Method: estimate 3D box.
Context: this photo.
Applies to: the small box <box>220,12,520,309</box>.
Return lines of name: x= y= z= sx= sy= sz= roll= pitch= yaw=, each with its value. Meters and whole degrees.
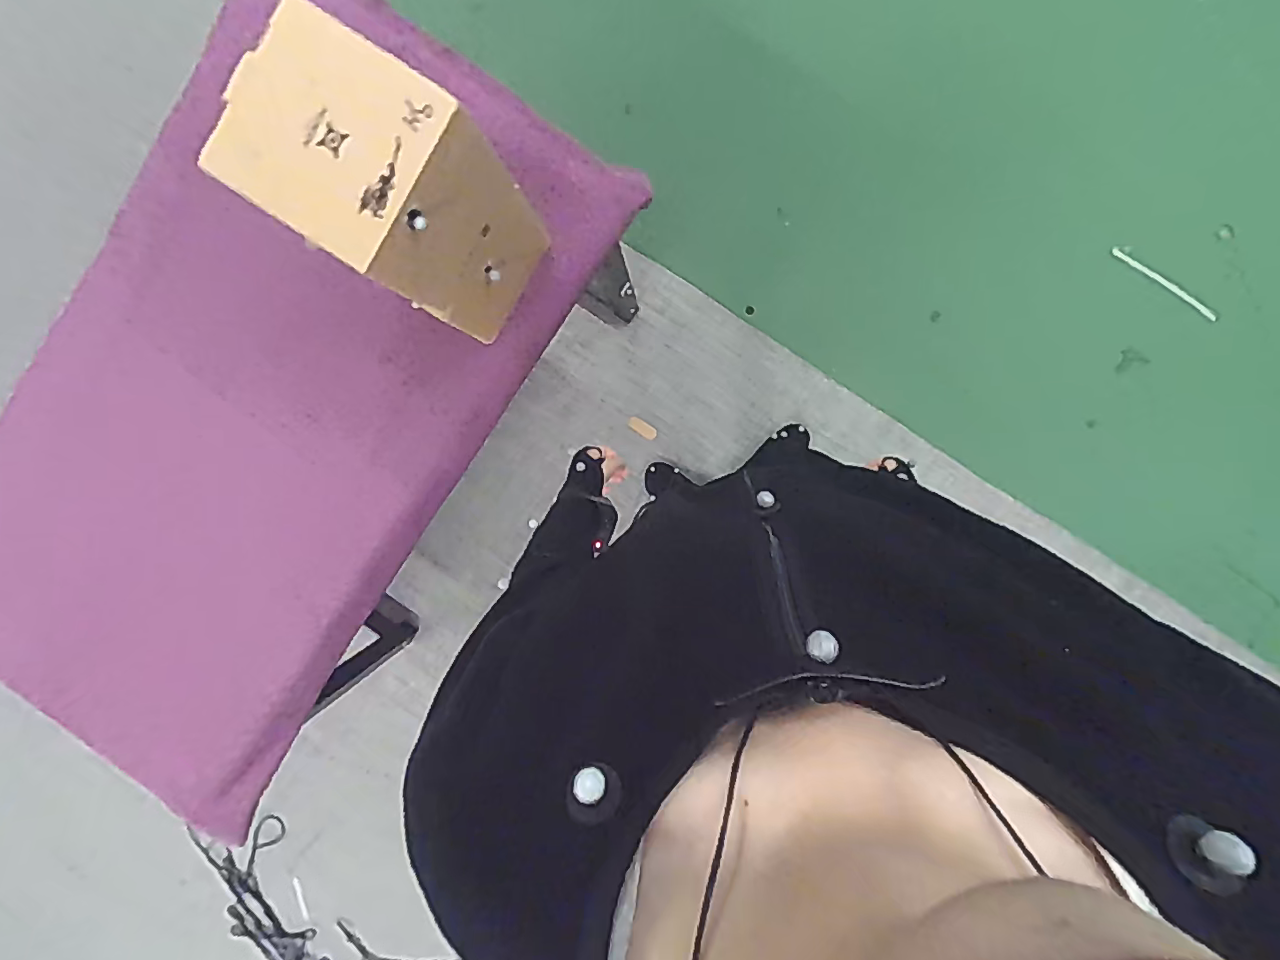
small box: x=-0.254 y=-0.297 z=0.549 sx=0.179 sy=0.176 sz=0.168 roll=33 pitch=99 yaw=2

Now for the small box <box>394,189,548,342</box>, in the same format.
small box: x=-0.238 y=-0.306 z=0.712 sx=0.168 sy=0.176 sz=0.179 roll=32 pitch=98 yaw=2

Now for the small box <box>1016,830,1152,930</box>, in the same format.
small box: x=1.099 y=1.035 z=1.358 sx=0.168 sy=0.176 sz=0.179 roll=29 pitch=98 yaw=5
